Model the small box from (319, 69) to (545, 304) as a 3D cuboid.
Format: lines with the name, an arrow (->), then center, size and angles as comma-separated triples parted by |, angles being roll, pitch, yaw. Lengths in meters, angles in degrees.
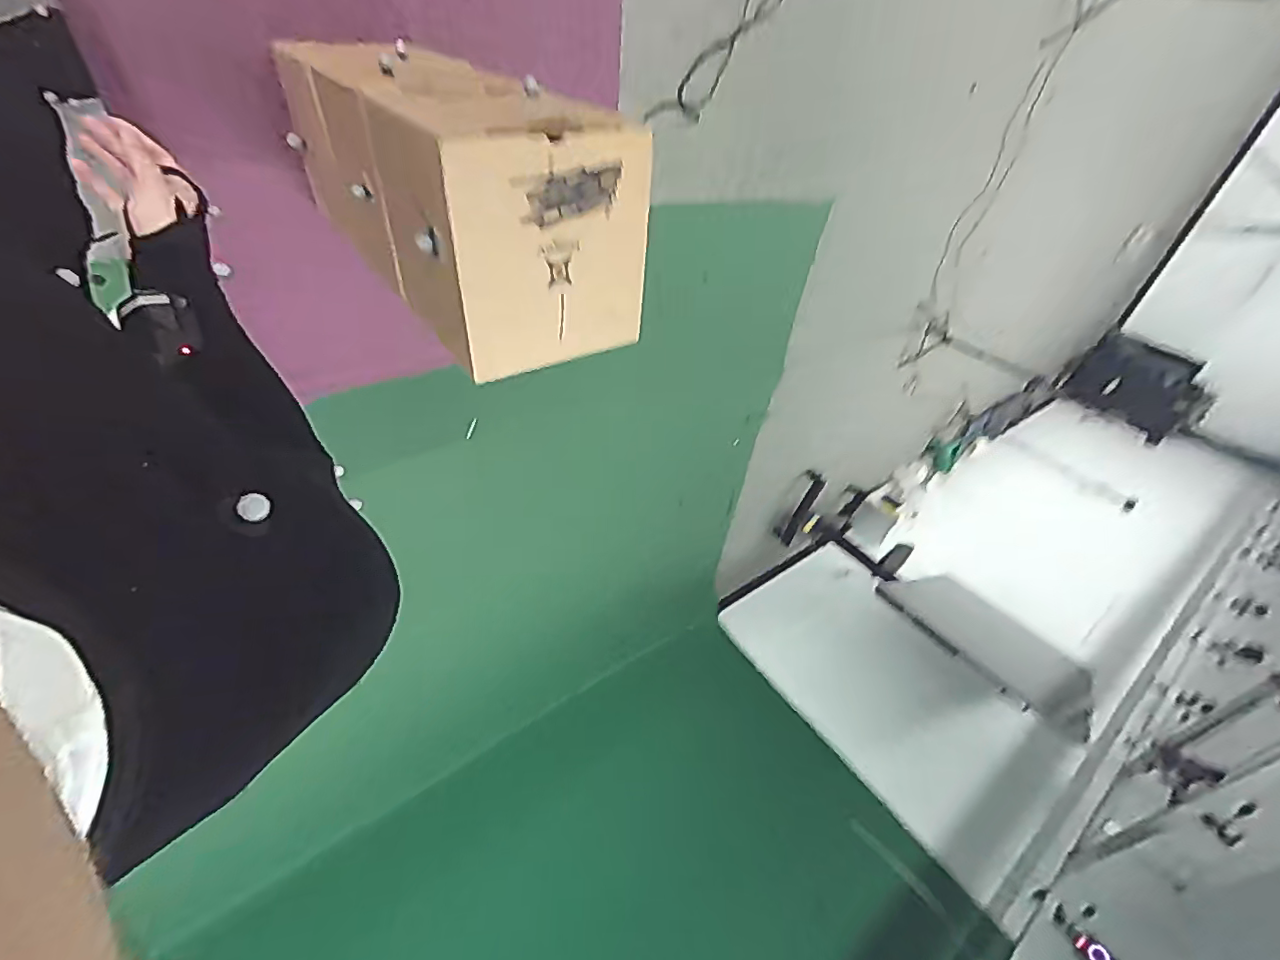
small box -> -0.209, -0.309, 0.563 | 0.168, 0.176, 0.179 | -22, 139, -29

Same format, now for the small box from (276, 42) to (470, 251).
small box -> -0.307, -0.404, 0.654 | 0.168, 0.176, 0.179 | -24, 140, -29

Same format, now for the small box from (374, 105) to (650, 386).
small box -> -0.111, -0.214, 0.474 | 0.168, 0.176, 0.179 | -23, 139, -28
